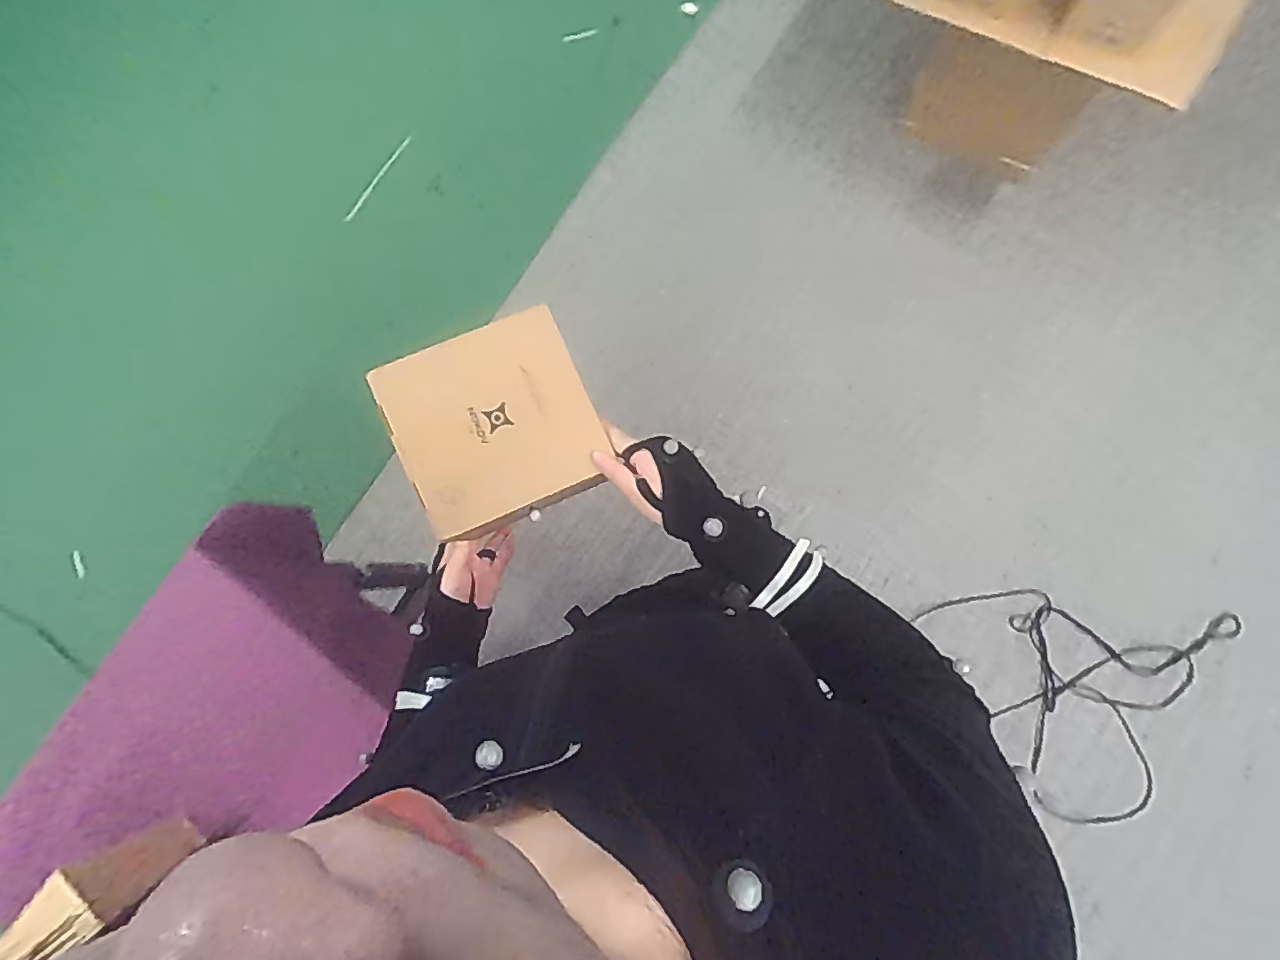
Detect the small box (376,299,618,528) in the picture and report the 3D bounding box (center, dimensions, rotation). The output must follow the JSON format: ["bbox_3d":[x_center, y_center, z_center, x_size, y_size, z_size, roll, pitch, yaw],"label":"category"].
[{"bbox_3d":[-0.133,-0.054,0.562,0.179,0.176,0.168,-22,88,-7],"label":"small box"}]

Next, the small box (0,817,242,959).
[{"bbox_3d":[-0.682,0.599,0.717,0.168,0.176,0.179,37,87,11],"label":"small box"}]

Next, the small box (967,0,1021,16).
[{"bbox_3d":[0.747,-1.096,1.084,0.168,0.176,0.179,34,85,12],"label":"small box"}]
